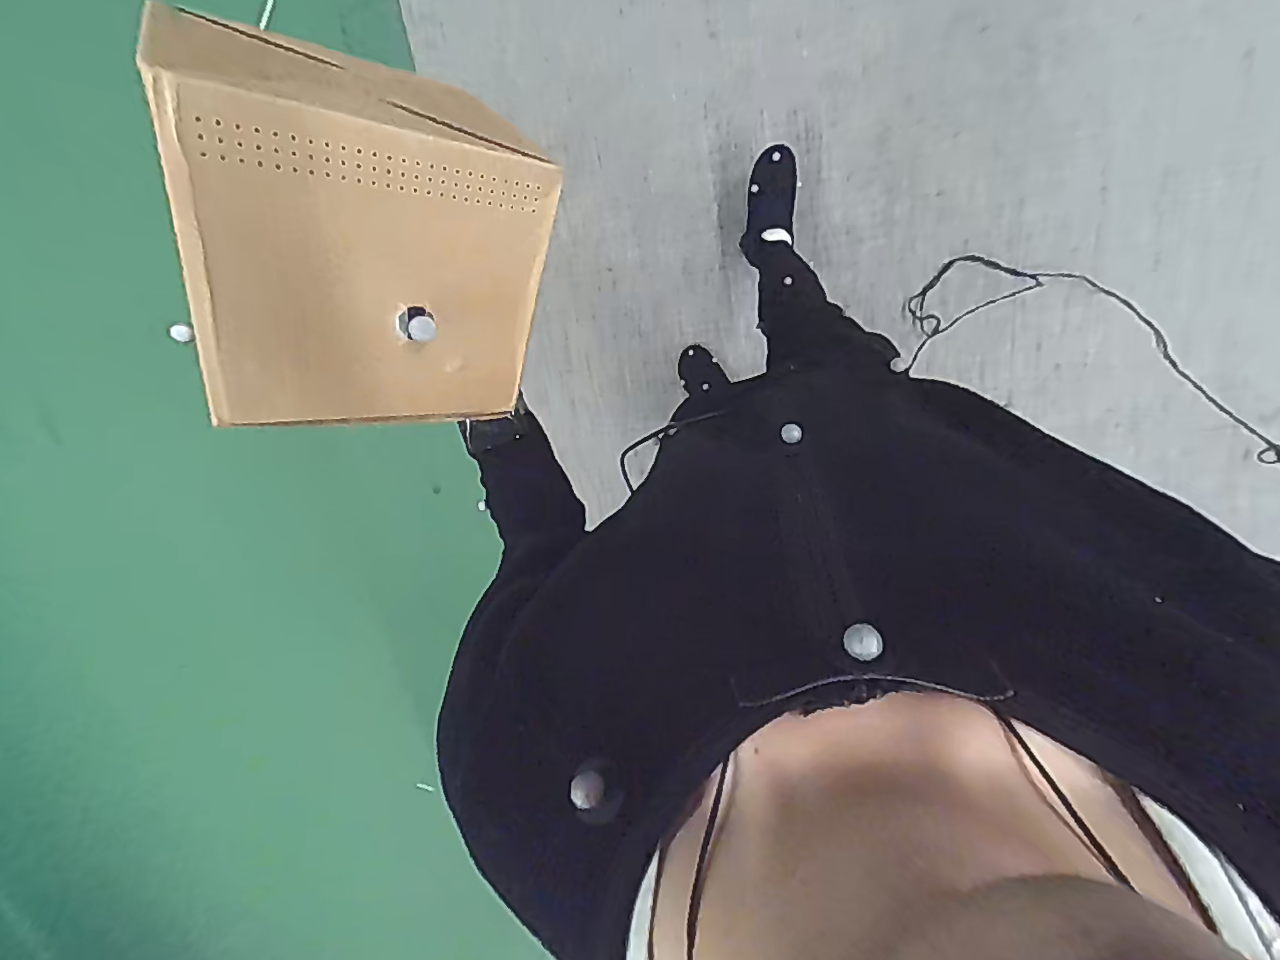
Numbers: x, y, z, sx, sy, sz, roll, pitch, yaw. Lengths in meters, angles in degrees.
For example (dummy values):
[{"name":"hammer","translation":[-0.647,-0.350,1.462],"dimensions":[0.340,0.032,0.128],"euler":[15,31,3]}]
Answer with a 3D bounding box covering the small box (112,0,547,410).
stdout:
[{"name":"small box","translation":[-0.175,-0.162,0.326],"dimensions":[0.179,0.168,0.176],"euler":[-8,136,-36]}]
